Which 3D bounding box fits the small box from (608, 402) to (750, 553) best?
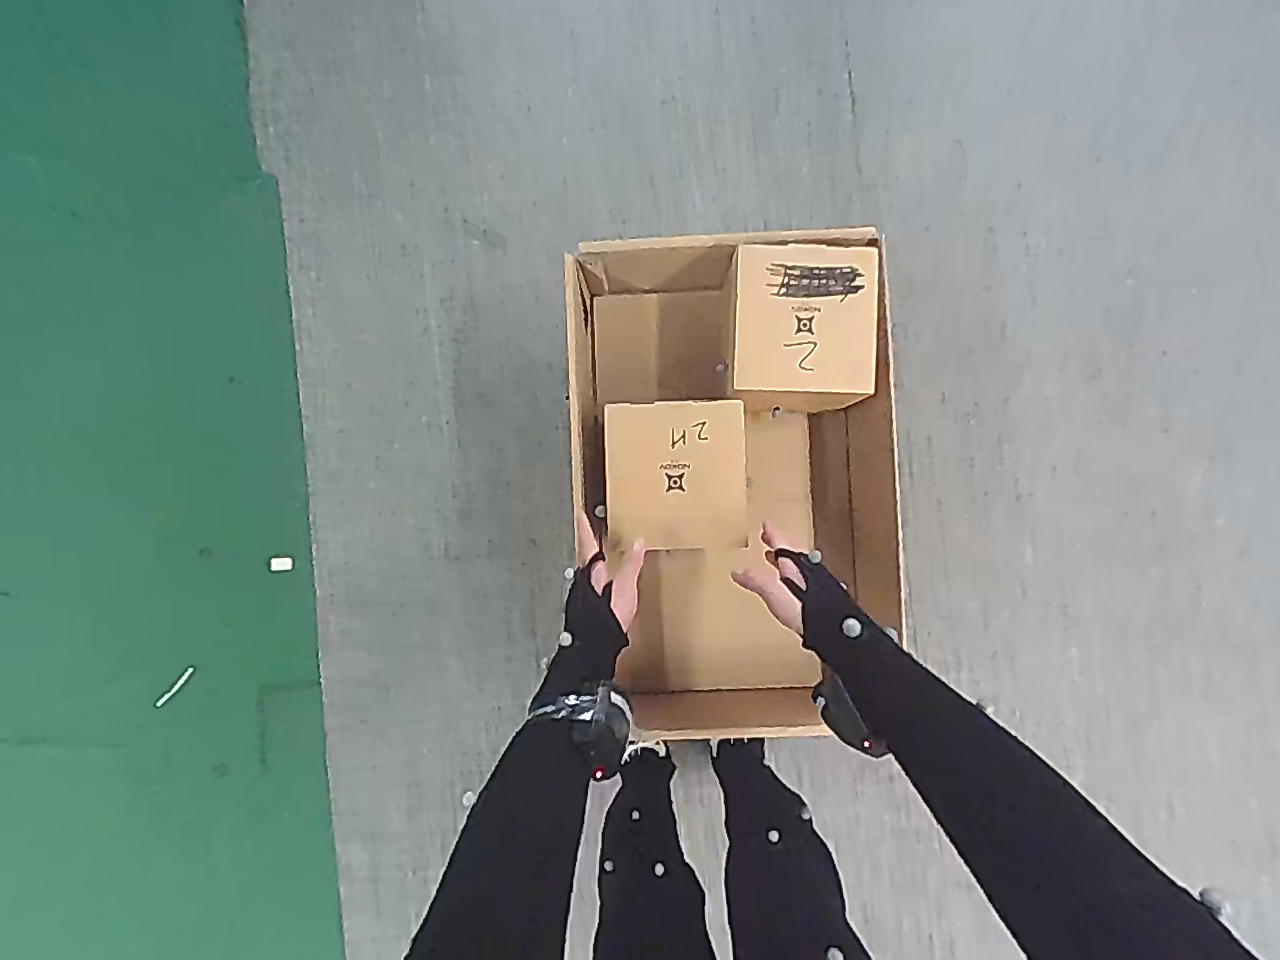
[{"bbox_3d":[0.047,-0.002,0.702,0.168,0.176,0.179,-1,88,1],"label":"small box"}]
